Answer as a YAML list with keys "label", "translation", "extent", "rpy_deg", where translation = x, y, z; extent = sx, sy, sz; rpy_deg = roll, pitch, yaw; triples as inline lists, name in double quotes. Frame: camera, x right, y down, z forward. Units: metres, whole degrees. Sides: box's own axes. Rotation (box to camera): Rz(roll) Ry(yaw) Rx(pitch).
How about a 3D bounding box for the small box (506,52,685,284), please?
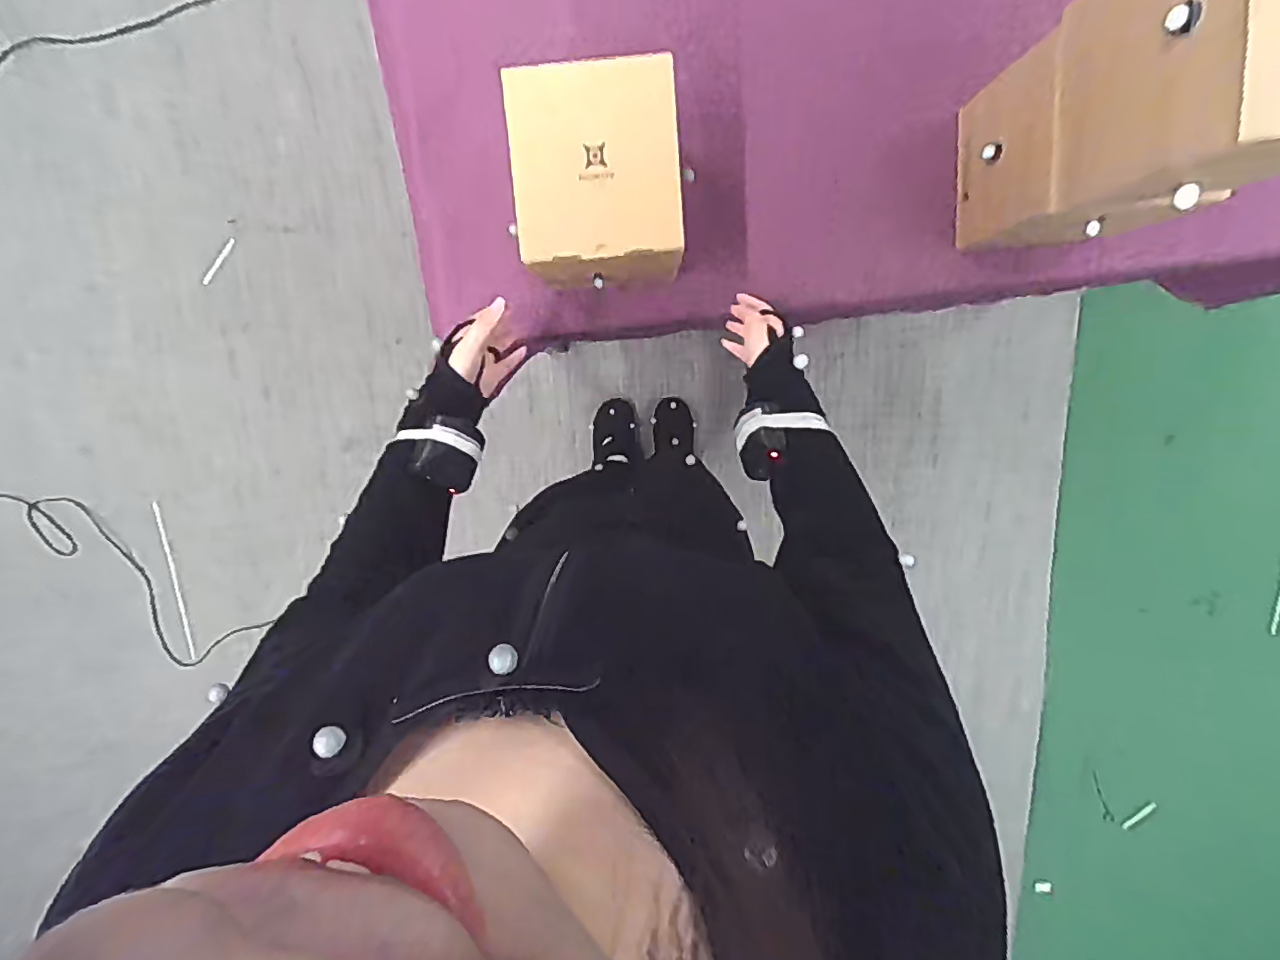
- label: "small box"
  translation: [-0.041, -0.329, 0.604]
  extent: [0.168, 0.176, 0.179]
  rpy_deg: [-4, 102, 1]

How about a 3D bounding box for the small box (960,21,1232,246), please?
- label: "small box"
  translation: [0.479, -0.363, 0.588]
  extent: [0.179, 0.176, 0.168]
  rpy_deg: [-4, 101, 2]

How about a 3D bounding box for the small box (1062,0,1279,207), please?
- label: "small box"
  translation: [0.475, -0.340, 0.424]
  extent: [0.168, 0.176, 0.179]
  rpy_deg: [-6, 102, 3]
